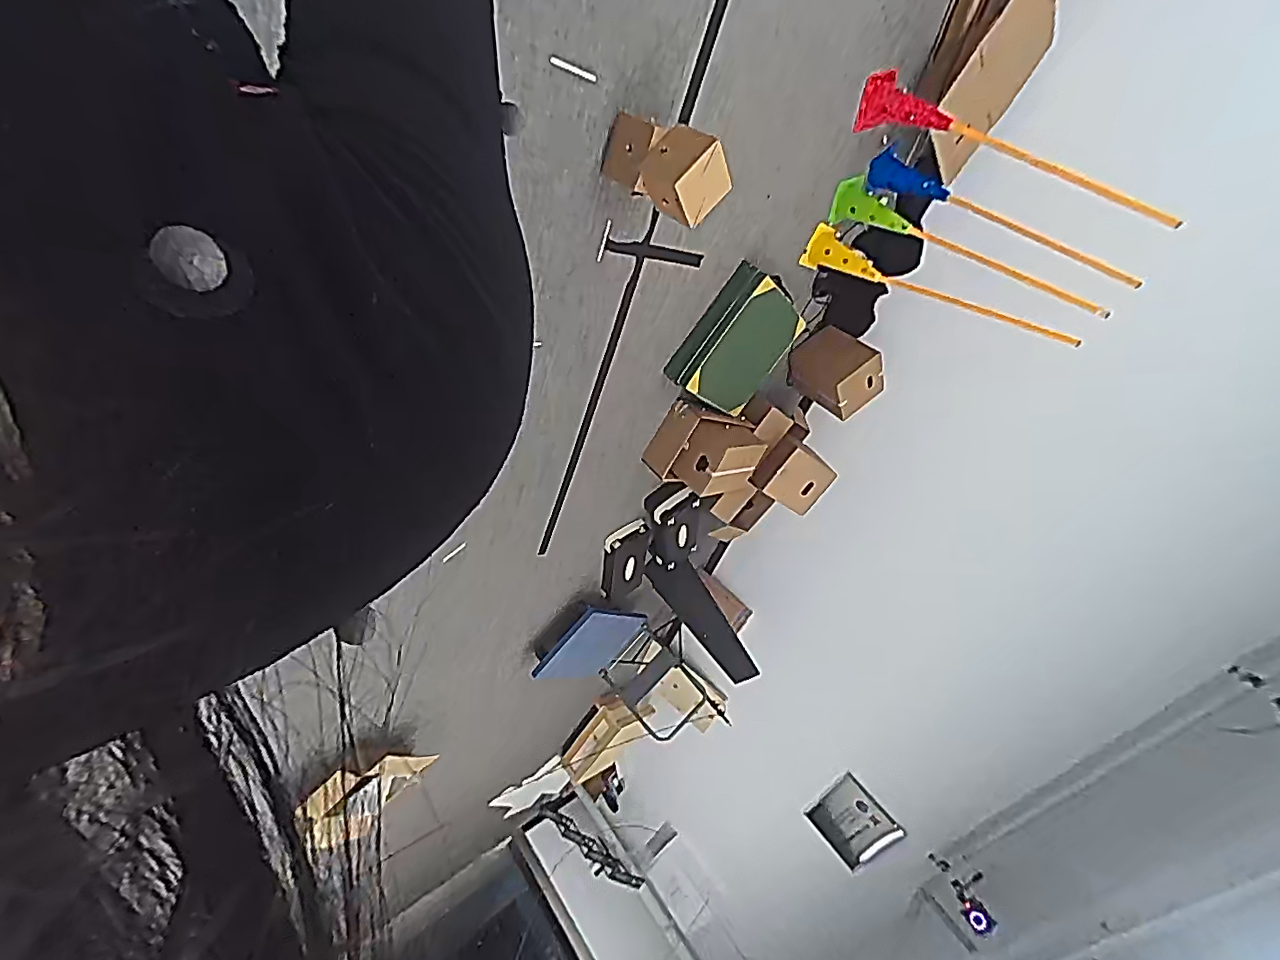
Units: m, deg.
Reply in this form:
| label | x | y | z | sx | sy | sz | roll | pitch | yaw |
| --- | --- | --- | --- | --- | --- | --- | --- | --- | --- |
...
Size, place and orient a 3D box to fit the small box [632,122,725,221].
| label | x | y | z | sx | sy | sz | roll | pitch | yaw |
| --- | --- | --- | --- | --- | --- | --- | --- | --- | --- |
| small box | 0.114 | -0.879 | 1.559 | 0.179 | 0.176 | 0.168 | -48 | 151 | 1 |

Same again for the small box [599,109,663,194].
| label | x | y | z | sx | sy | sz | roll | pitch | yaw |
| --- | --- | --- | --- | --- | --- | --- | --- | --- | --- |
| small box | 0.000 | -0.979 | 1.632 | 0.168 | 0.176 | 0.179 | -13 | 136 | -45 |
